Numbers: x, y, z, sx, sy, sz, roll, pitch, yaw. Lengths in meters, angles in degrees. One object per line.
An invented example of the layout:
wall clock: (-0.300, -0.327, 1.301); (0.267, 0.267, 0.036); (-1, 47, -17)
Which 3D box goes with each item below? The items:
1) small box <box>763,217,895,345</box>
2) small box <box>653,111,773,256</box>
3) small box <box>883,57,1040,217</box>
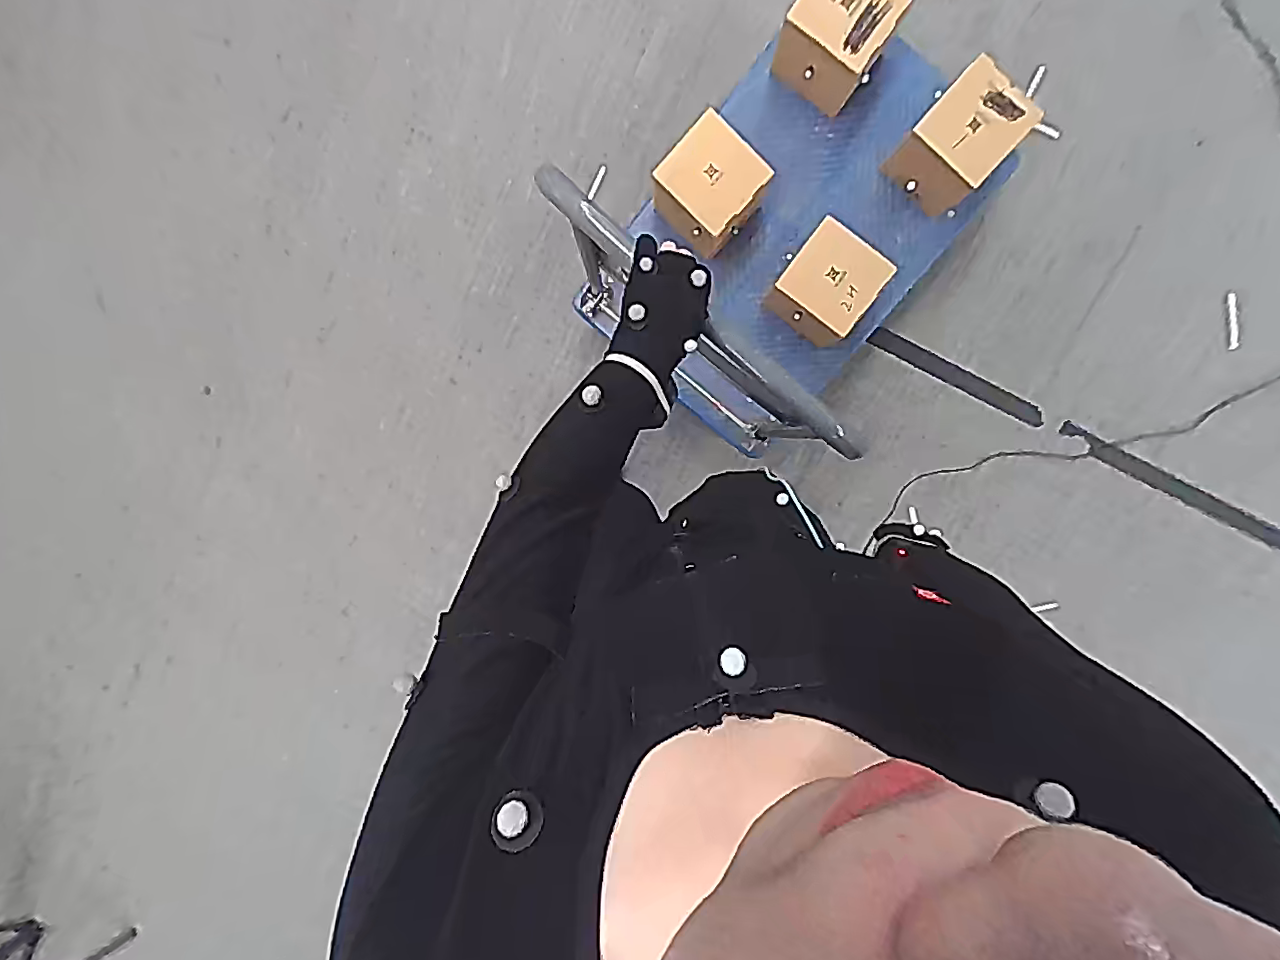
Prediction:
small box: (0.382, -0.402, 1.132); (0.179, 0.176, 0.168); (37, 97, -2)
small box: (0.141, -0.597, 1.119); (0.179, 0.176, 0.168); (43, 96, -5)
small box: (0.629, -0.673, 1.085); (0.168, 0.176, 0.179); (42, 98, -3)
